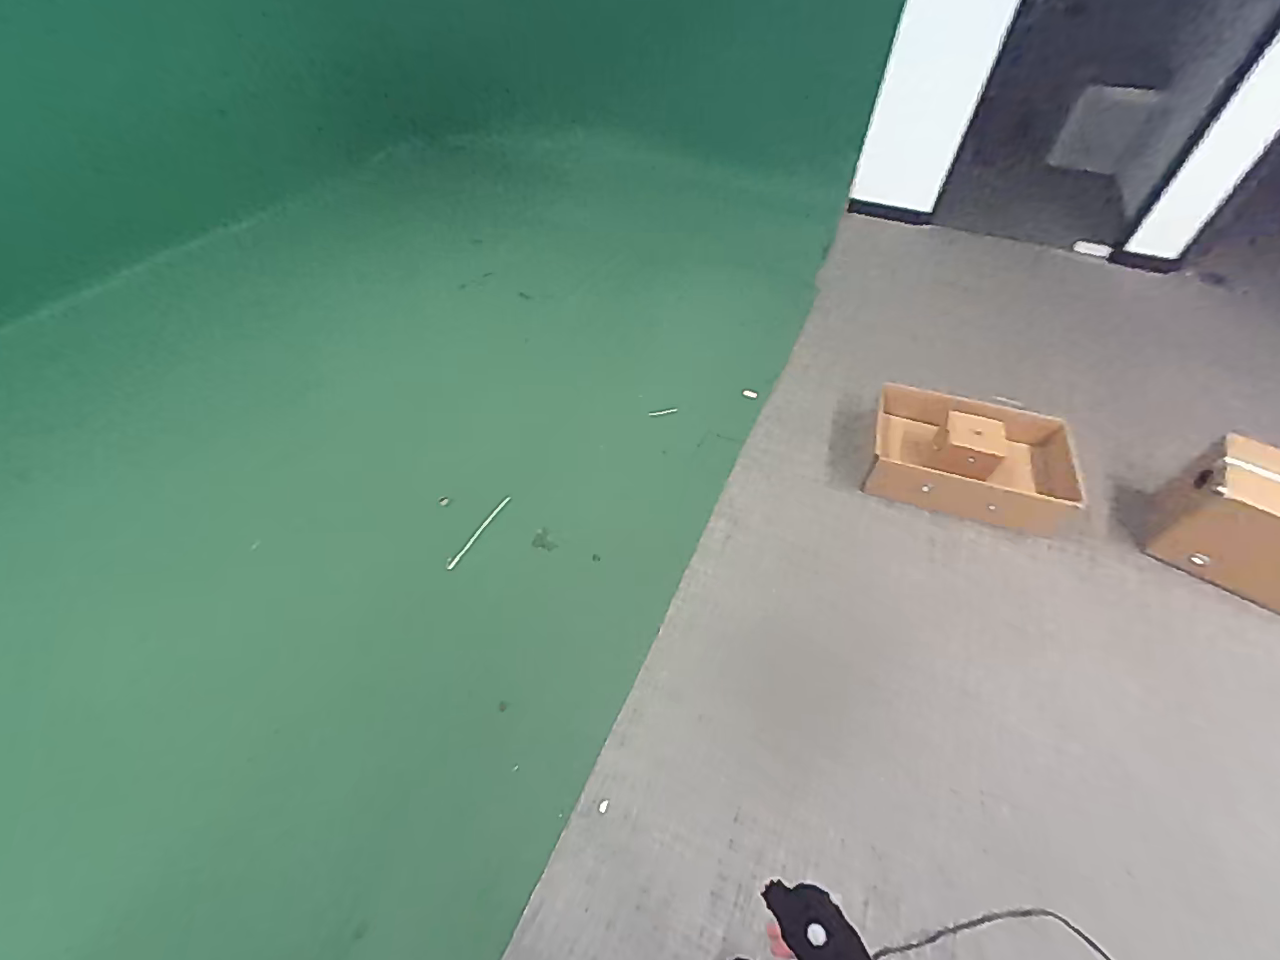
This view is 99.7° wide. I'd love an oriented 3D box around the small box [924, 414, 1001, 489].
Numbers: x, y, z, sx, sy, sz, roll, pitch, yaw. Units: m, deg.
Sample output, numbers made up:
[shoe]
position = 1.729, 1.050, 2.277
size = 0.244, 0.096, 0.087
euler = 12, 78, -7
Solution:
[small box]
position = 1.093, -0.093, 1.845
size = 0.179, 0.176, 0.168
euler = 17, 52, 10
